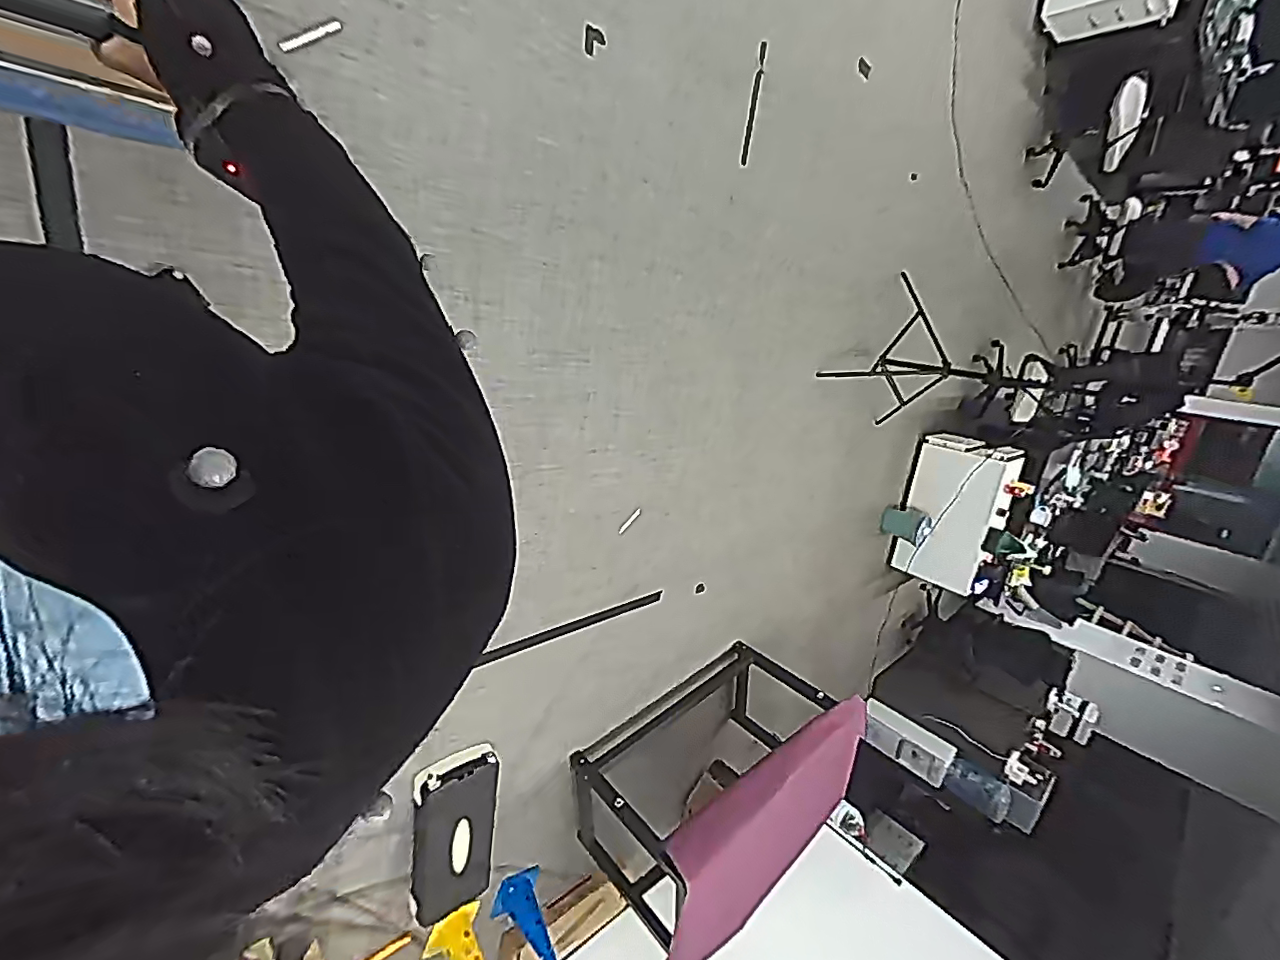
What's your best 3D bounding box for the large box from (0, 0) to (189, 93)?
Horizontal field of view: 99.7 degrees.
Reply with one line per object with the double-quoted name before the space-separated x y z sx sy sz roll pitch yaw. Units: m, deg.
"large box" -0.827 -0.730 0.640 0.408 0.320 0.320 -9 114 -42
